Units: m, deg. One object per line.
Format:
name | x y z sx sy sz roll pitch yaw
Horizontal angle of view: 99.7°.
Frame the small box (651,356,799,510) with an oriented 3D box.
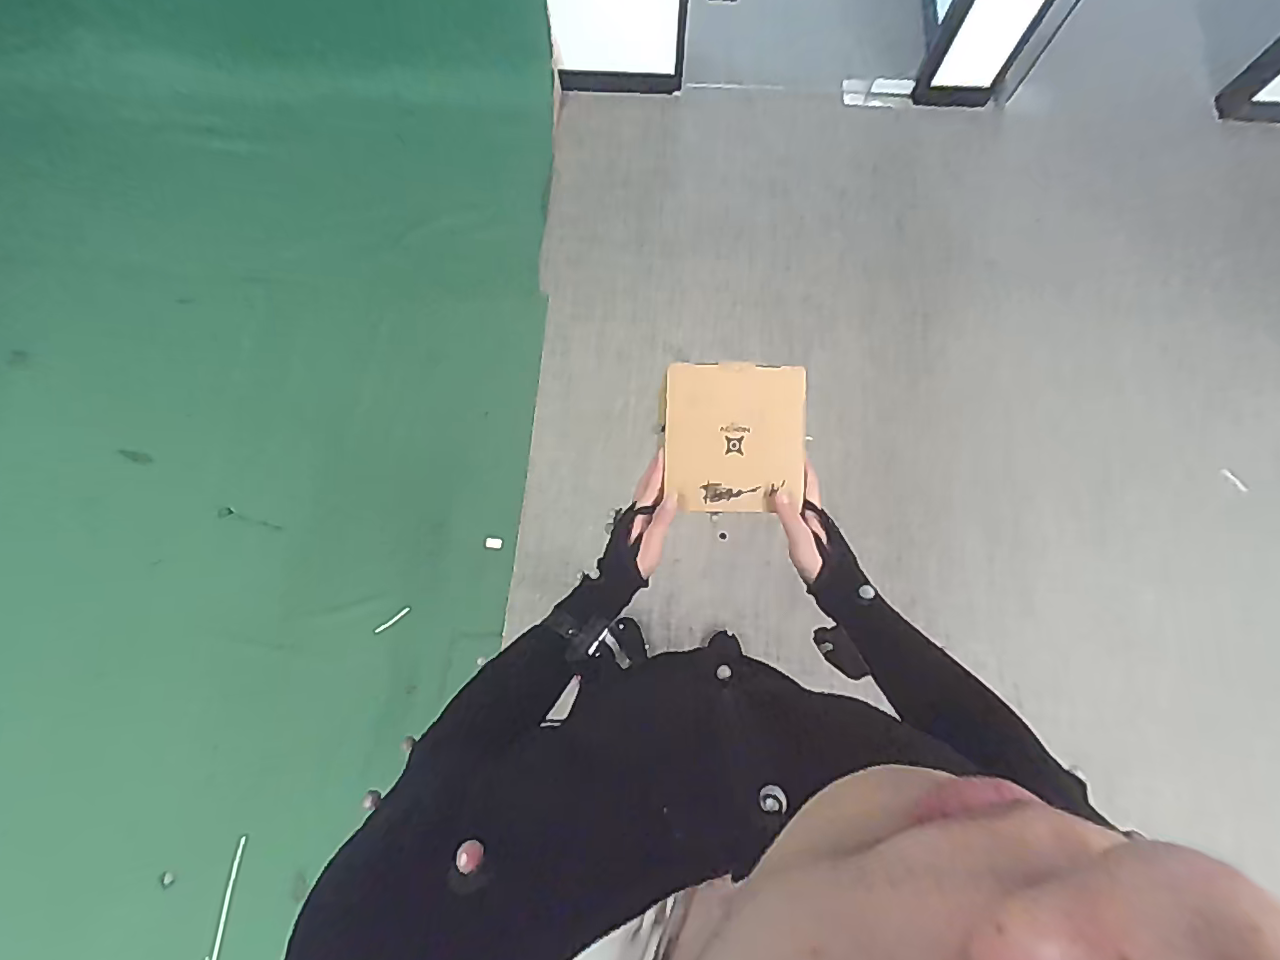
small box | 0.101 -0.053 0.713 0.168 0.176 0.179 3 89 -1
